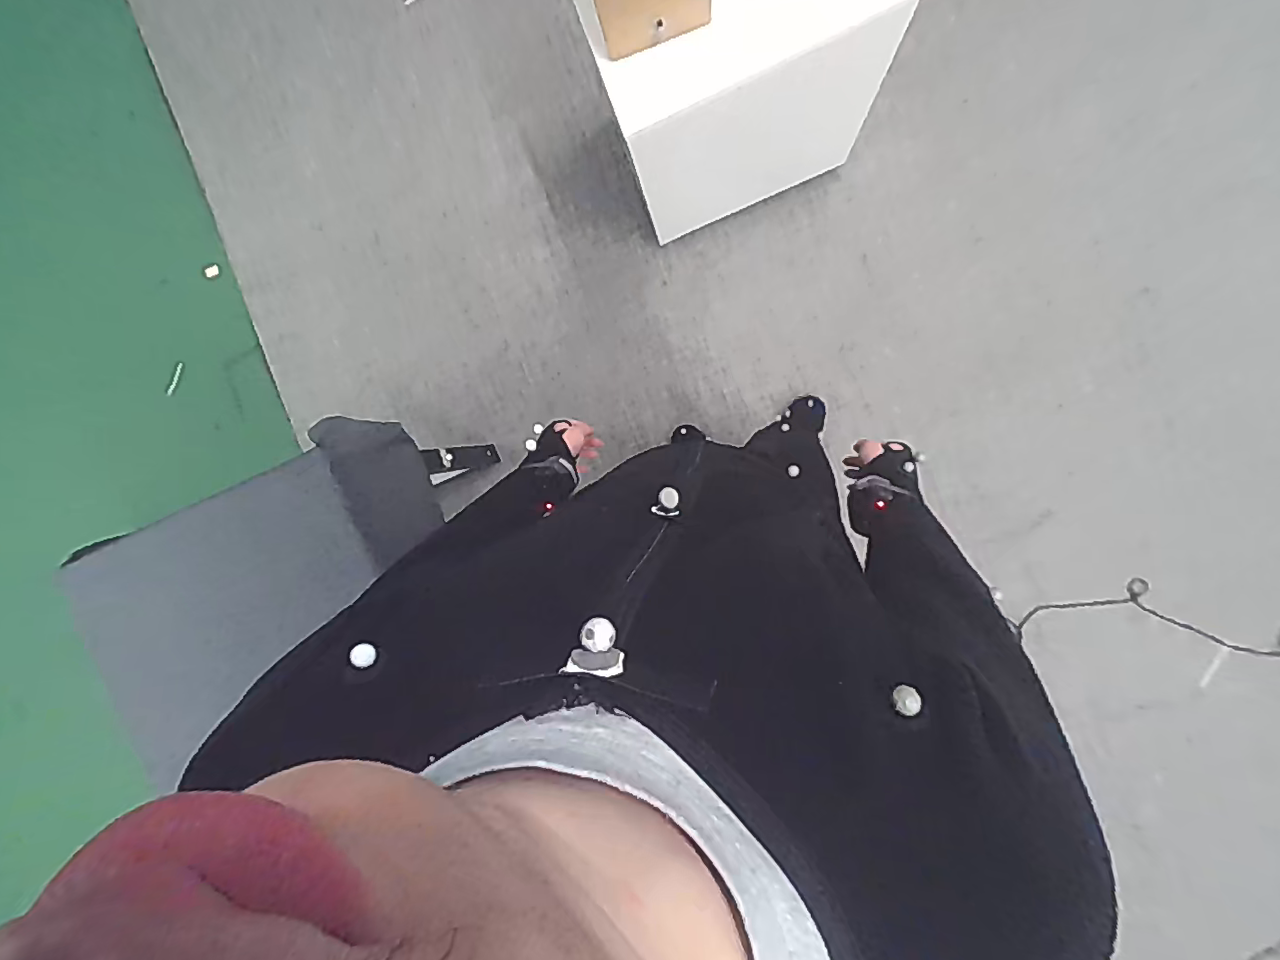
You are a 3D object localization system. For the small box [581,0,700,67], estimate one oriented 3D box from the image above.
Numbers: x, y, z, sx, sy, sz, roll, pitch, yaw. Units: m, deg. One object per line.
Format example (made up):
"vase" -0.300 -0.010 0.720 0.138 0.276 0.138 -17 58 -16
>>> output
"small box" -0.010 -0.775 0.803 0.179 0.176 0.168 -17 92 6
